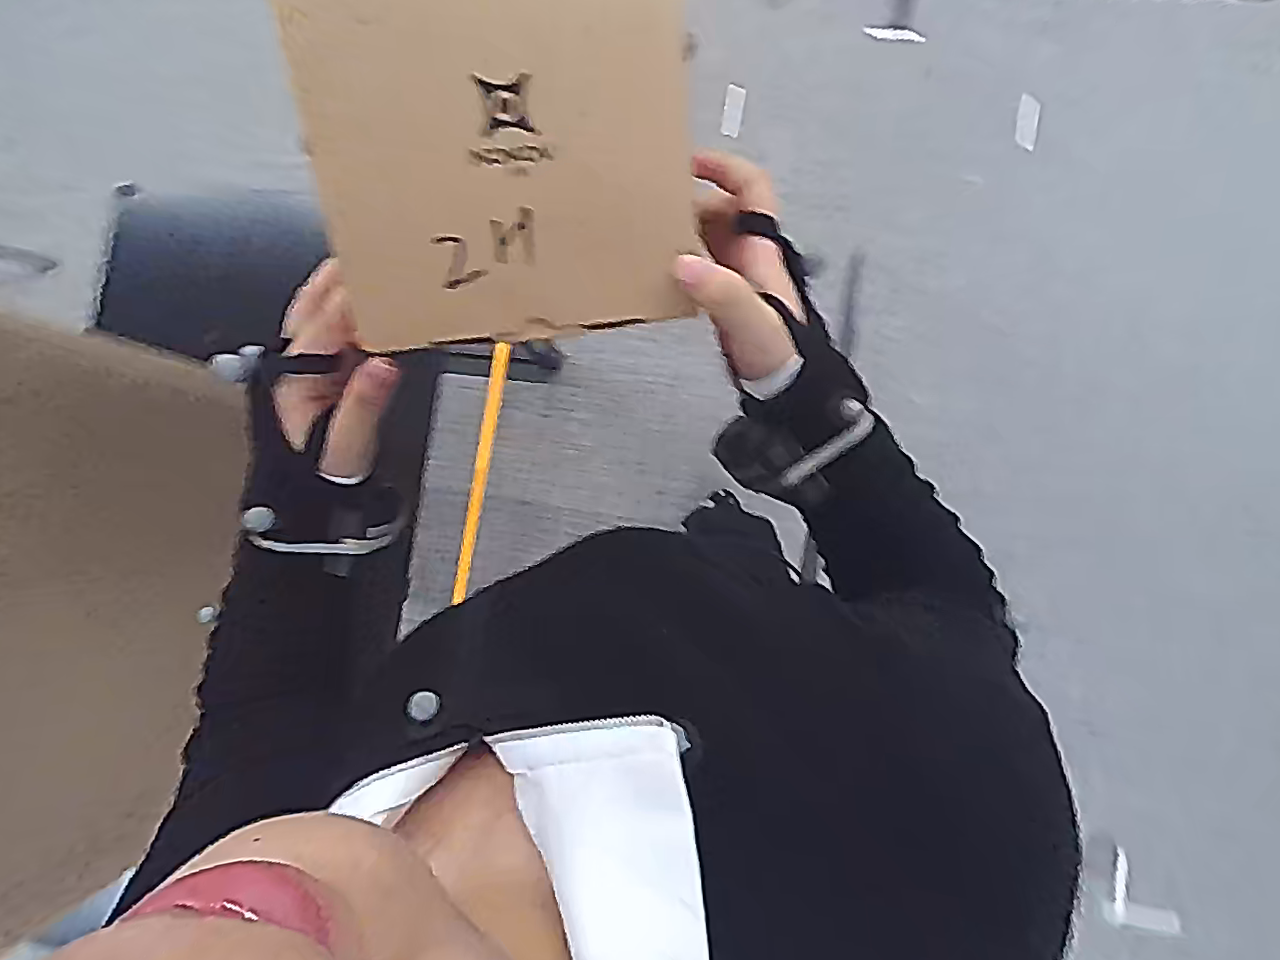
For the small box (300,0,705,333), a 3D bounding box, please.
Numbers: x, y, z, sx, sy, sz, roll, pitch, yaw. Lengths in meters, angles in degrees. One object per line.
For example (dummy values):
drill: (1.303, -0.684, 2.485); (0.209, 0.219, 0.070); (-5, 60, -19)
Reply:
small box: (-0.066, -0.184, 0.315); (0.168, 0.176, 0.179); (-7, 109, -7)
